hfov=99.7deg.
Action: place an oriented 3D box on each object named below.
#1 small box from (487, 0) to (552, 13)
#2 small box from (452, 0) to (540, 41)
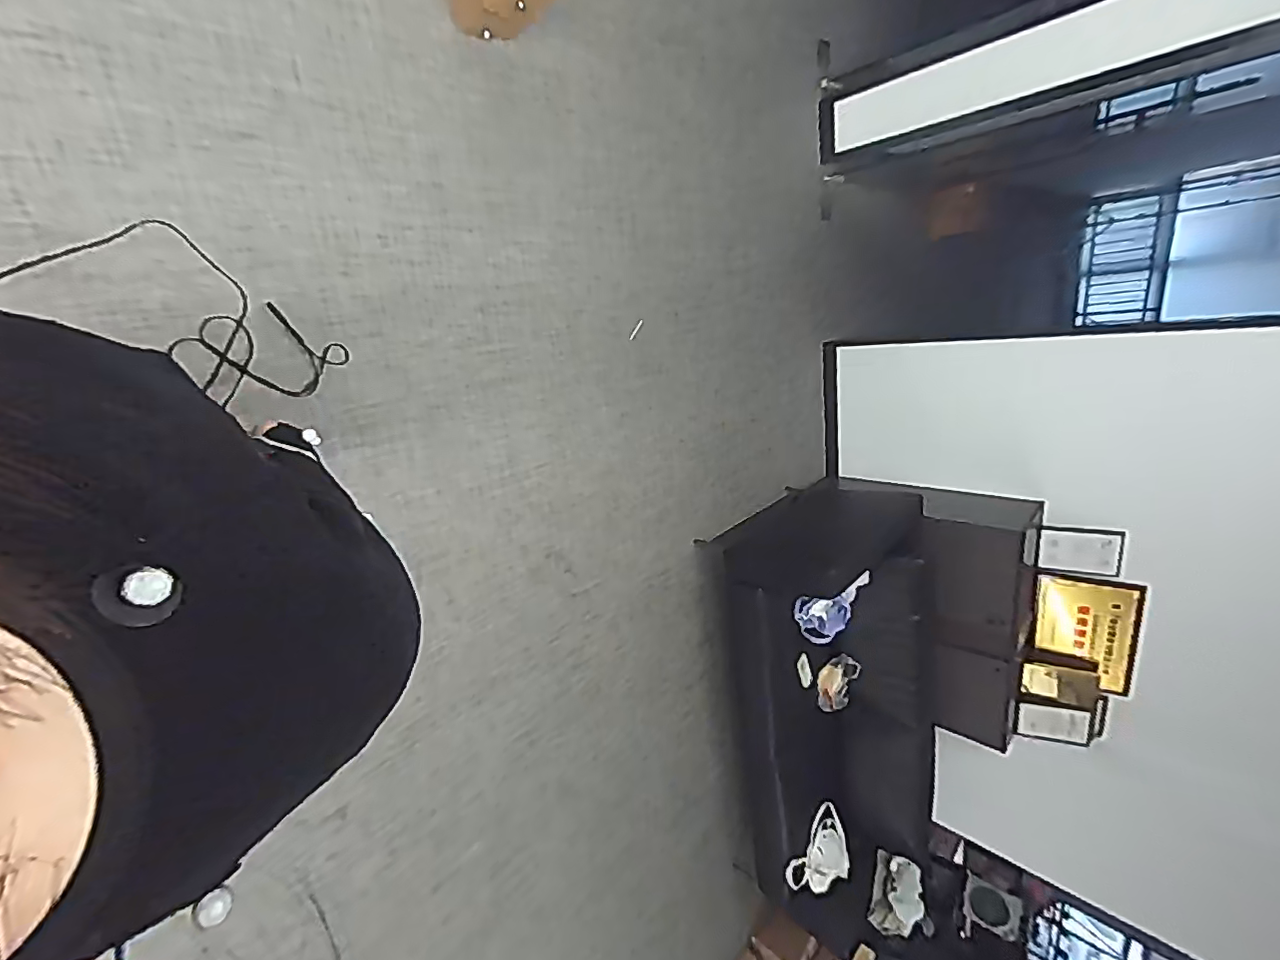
[{"bbox_3d":[-0.292,-1.283,1.310,0.168,0.176,0.179,-32,120,-36],"label":"small box"},{"bbox_3d":[-0.394,-1.314,1.433,0.168,0.176,0.179,-26,116,-38],"label":"small box"}]
